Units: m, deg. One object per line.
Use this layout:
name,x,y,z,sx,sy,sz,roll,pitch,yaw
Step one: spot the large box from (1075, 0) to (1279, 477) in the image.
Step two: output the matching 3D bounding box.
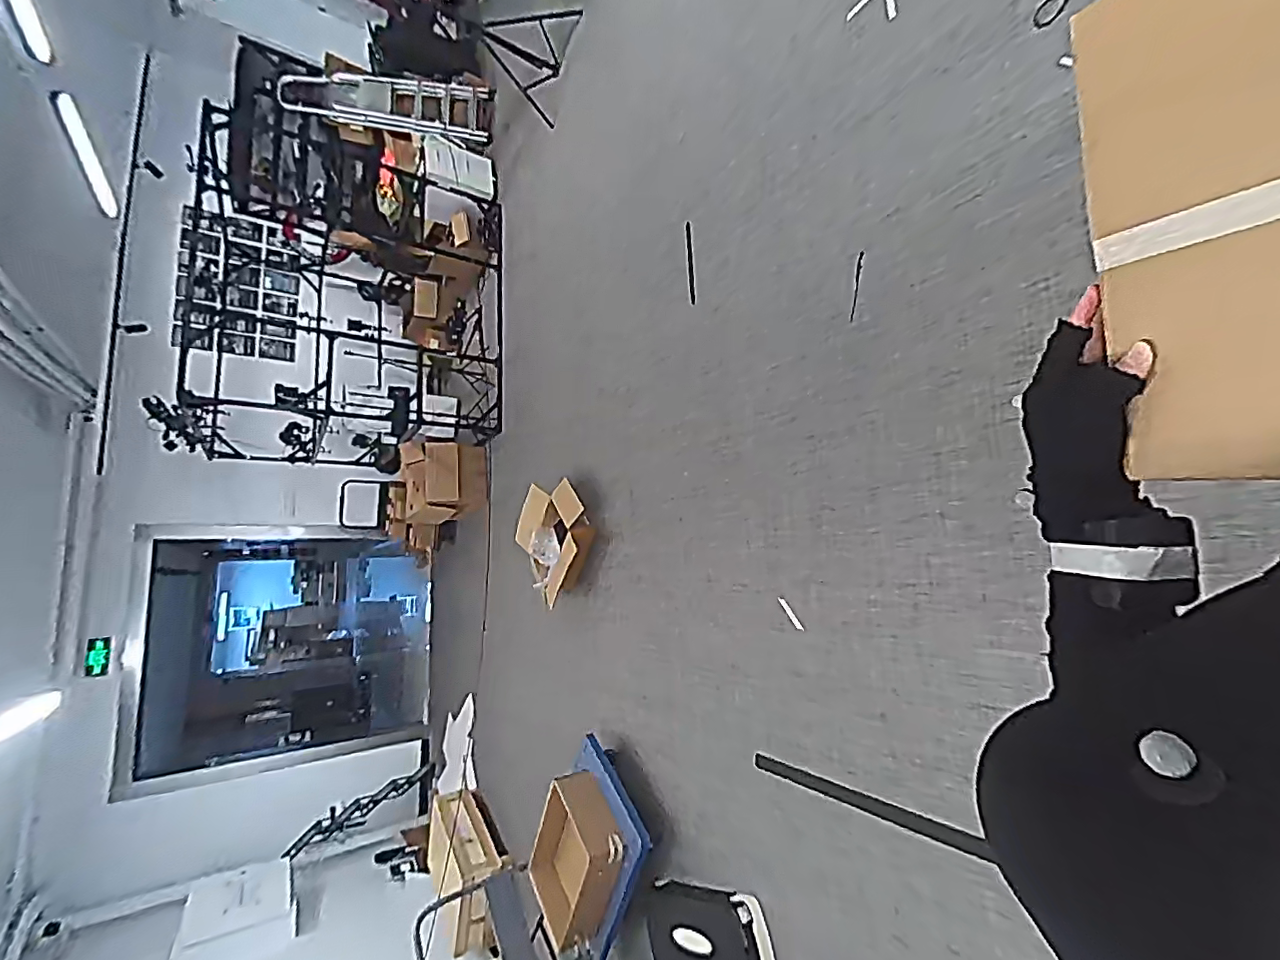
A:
large box,0.546,-0.188,0.283,0.408,0.320,0.320,-3,100,59
